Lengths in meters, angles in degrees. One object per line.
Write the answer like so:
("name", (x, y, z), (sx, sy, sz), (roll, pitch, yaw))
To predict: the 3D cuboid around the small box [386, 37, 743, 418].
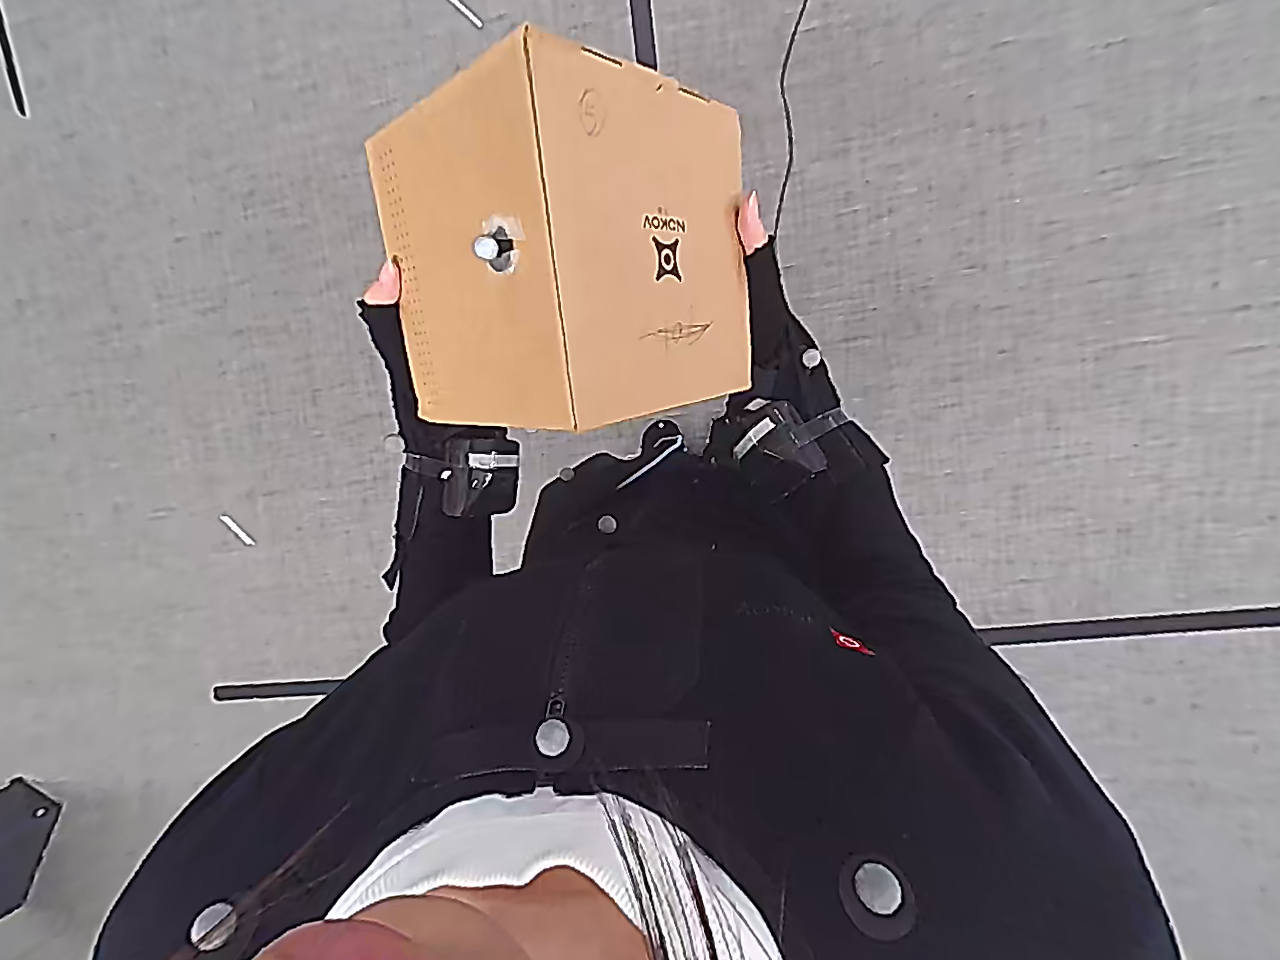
("small box", (-0.048, -0.140, 0.368), (0.176, 0.168, 0.179), (8, 109, 42))
